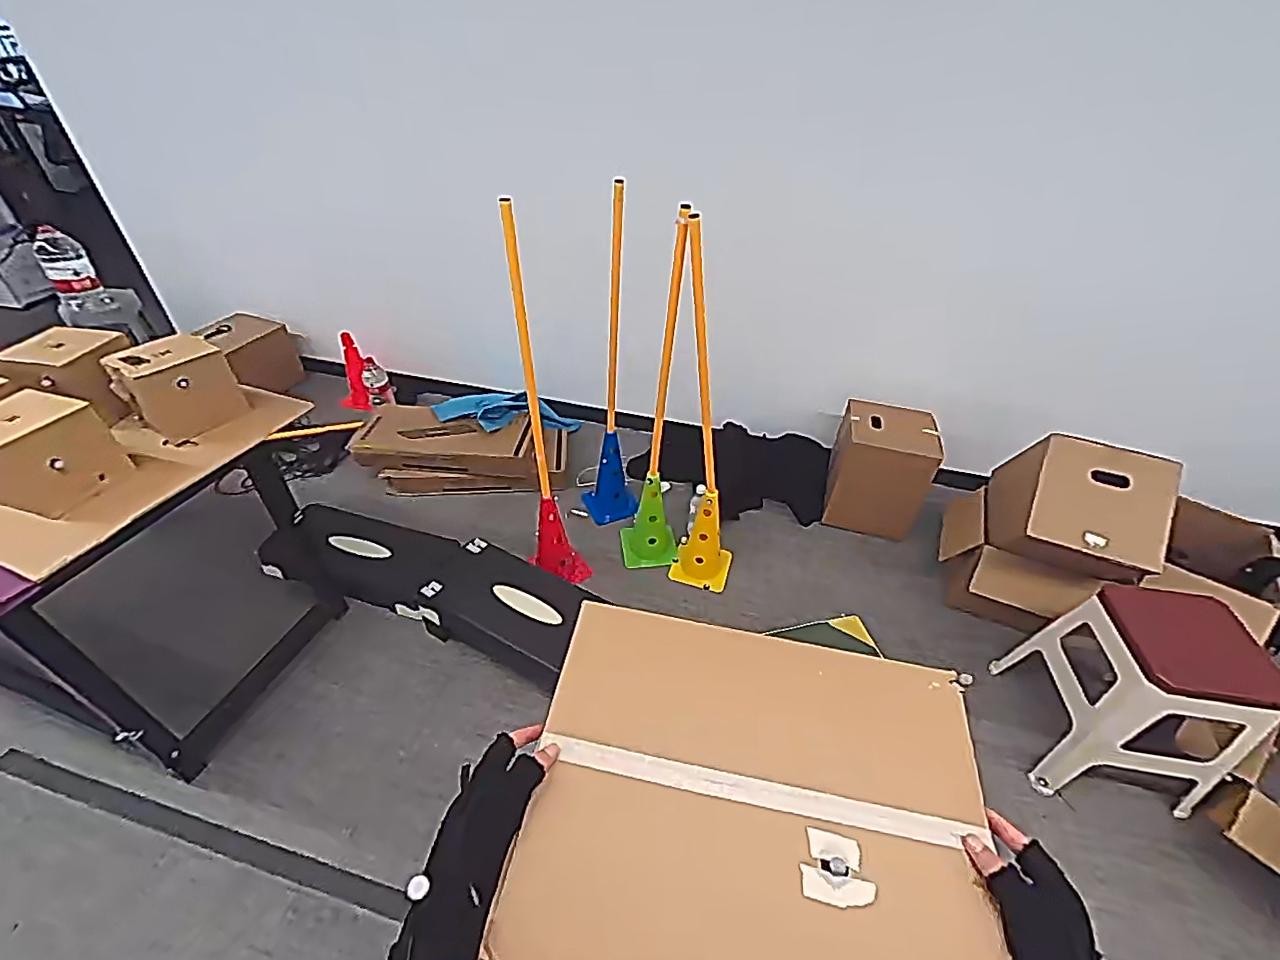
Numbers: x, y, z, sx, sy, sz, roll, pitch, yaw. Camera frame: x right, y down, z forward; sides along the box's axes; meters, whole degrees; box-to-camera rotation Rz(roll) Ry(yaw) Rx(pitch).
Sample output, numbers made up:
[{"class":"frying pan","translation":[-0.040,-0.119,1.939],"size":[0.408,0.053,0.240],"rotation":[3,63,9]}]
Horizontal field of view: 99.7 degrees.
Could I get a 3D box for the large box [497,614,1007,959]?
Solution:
[{"class":"large box","translation":[0.101,0.392,0.604],"size":[0.408,0.320,0.320],"rotation":[10,48,6]}]
